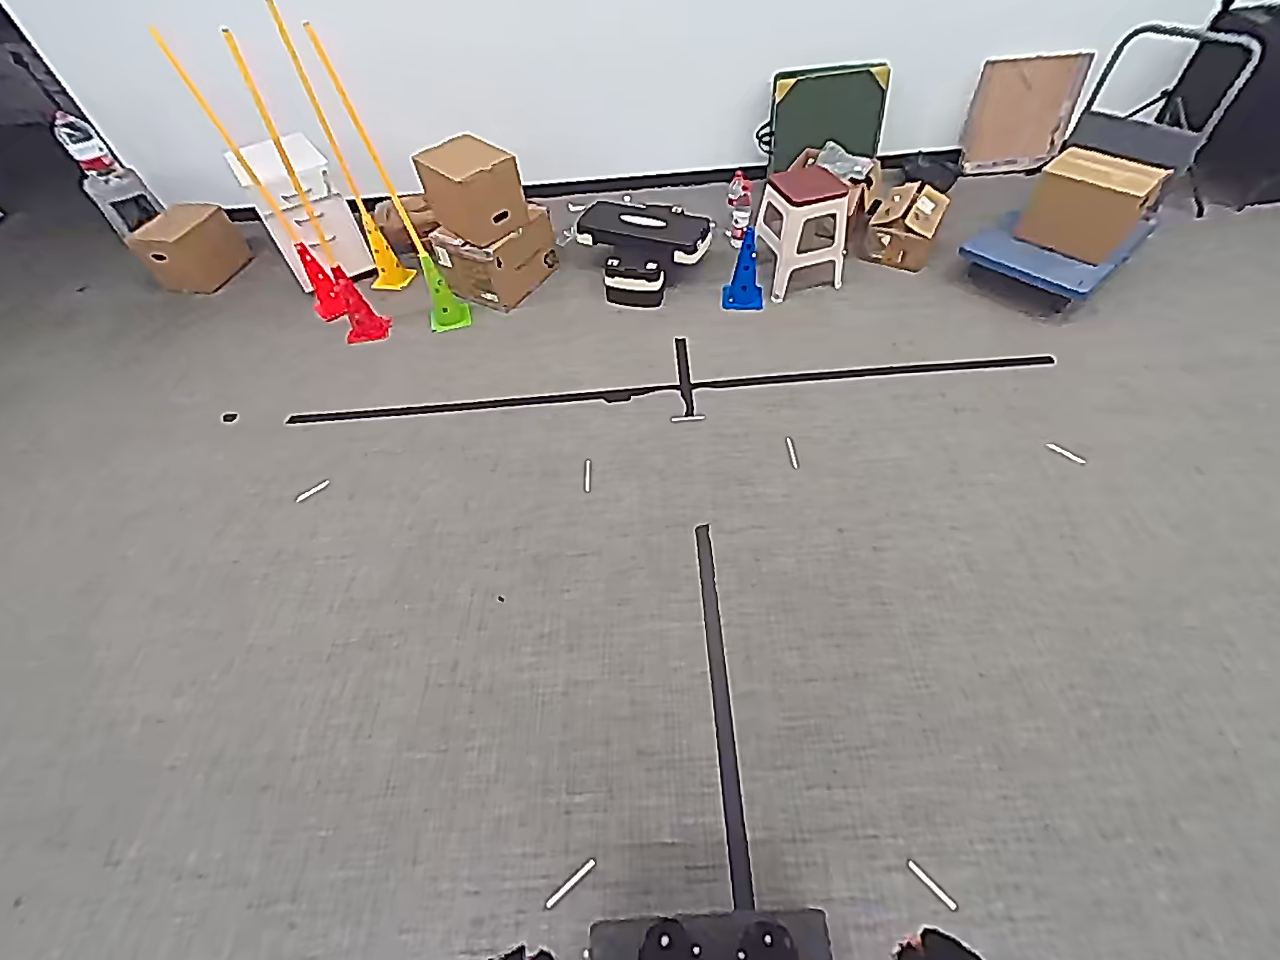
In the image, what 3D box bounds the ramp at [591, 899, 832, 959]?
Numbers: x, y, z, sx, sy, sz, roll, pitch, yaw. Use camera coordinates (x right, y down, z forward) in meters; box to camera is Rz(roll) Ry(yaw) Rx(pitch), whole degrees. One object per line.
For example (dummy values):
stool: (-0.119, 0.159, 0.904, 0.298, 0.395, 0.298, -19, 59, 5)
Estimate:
ramp: (0.172, 1.337, 0.908, 0.509, 0.206, 0.991, -5, 52, -1)
